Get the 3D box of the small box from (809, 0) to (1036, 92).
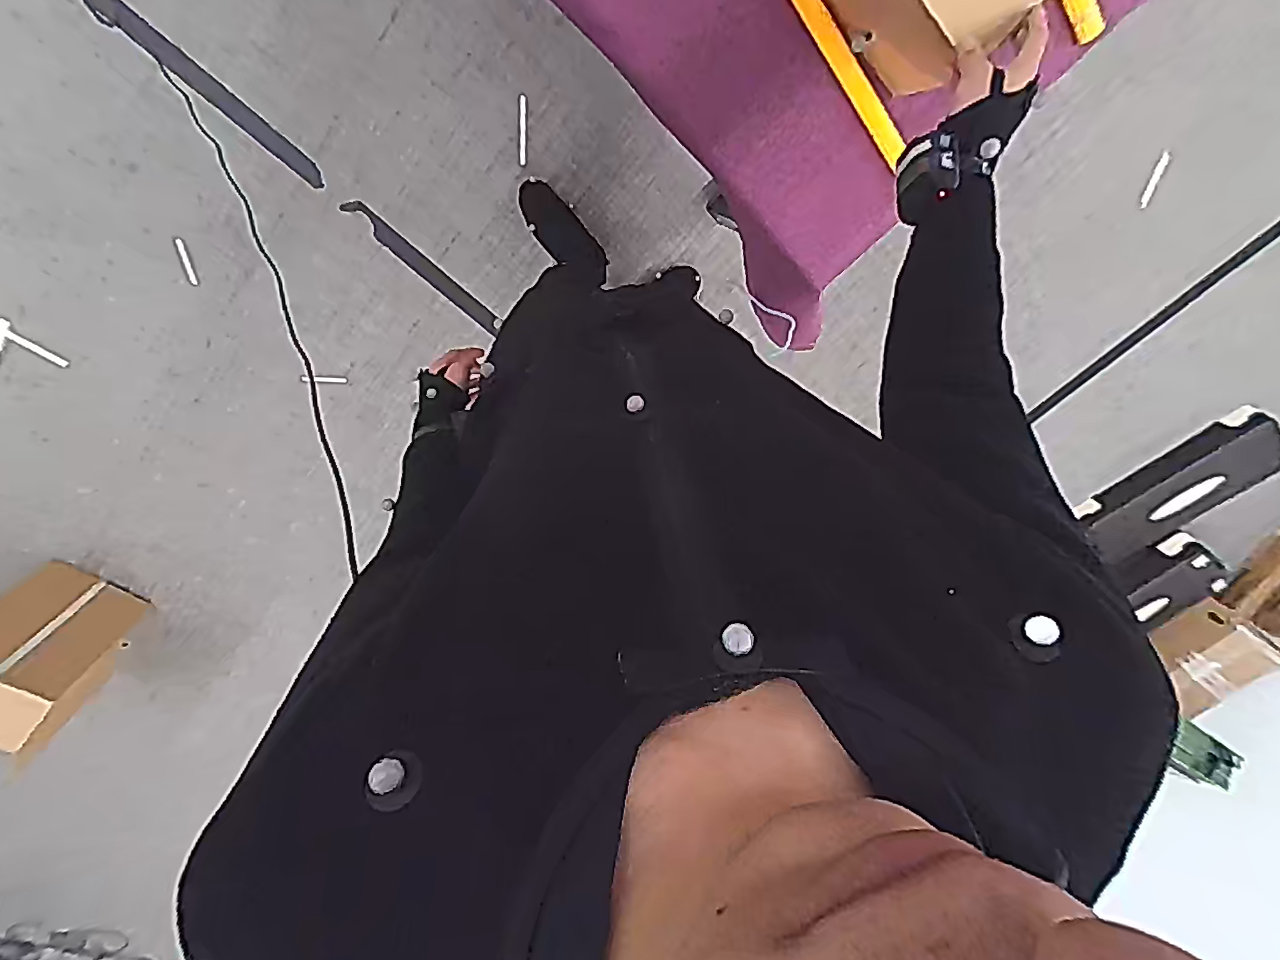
[{"bbox_3d":[0.305,-0.544,0.564,0.179,0.176,0.168,34,112,-22],"label":"small box"}]
